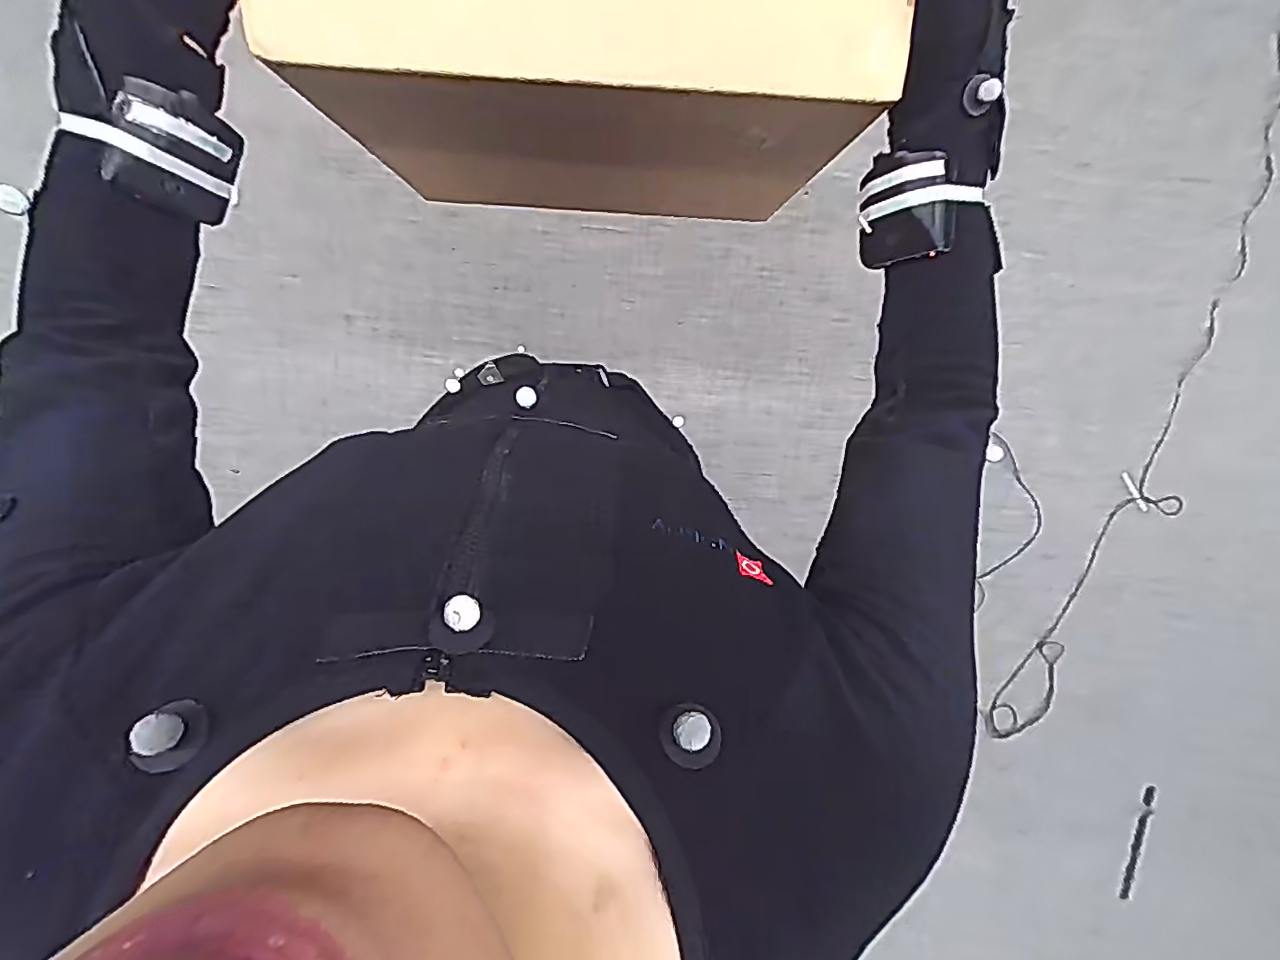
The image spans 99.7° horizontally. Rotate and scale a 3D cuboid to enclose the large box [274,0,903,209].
[{"bbox_3d":[-0.034,-0.443,0.462,0.408,0.320,0.320,1,103,-4],"label":"large box"}]
